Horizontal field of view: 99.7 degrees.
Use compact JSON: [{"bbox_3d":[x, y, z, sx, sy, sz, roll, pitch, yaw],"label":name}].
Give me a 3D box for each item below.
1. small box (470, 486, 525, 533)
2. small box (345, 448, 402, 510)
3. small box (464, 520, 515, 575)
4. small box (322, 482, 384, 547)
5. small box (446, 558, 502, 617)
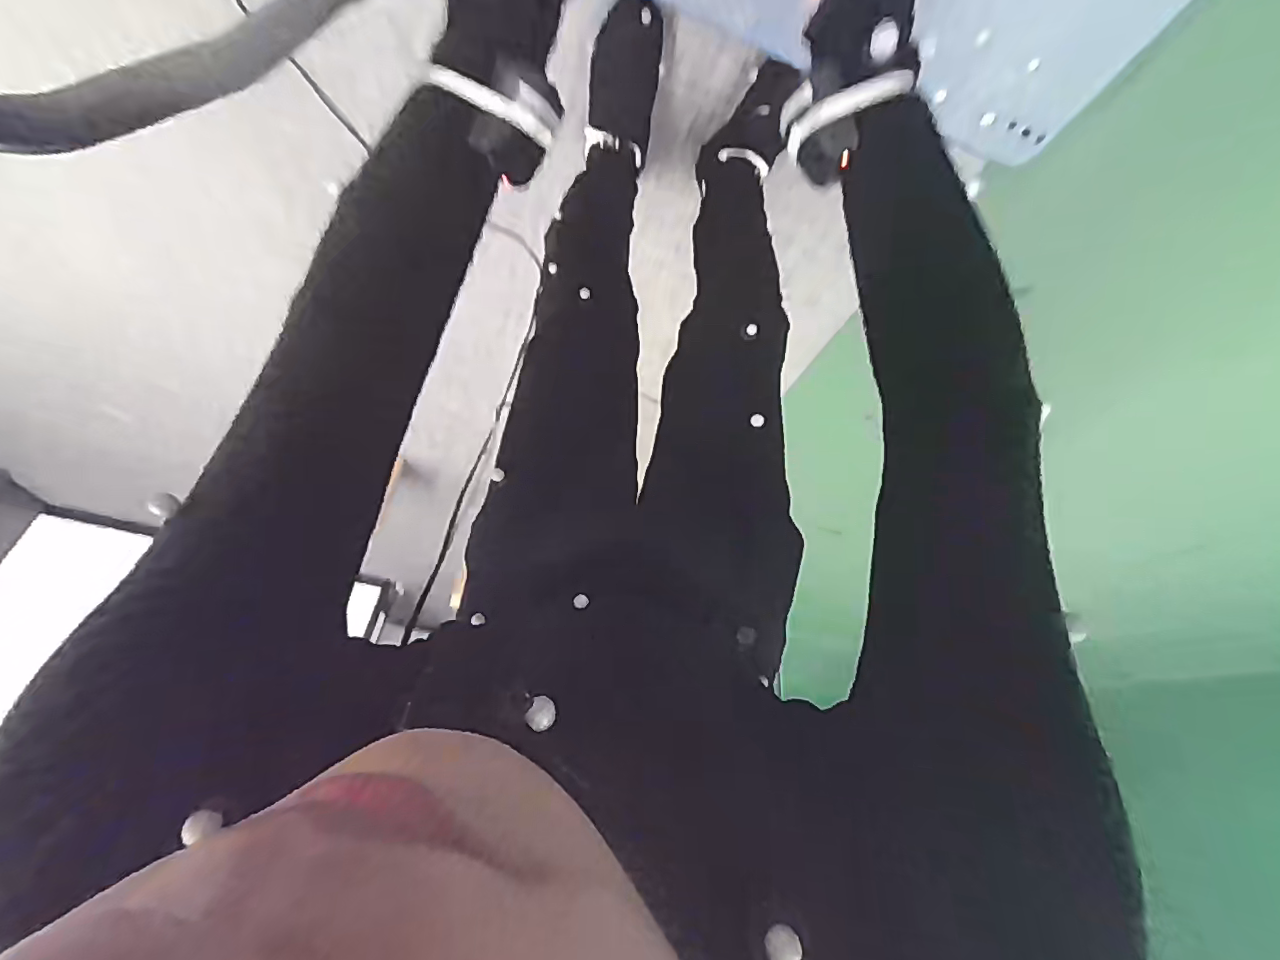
[{"bbox_3d":[-0.603,0.144,2.297,0.179,0.176,0.168,19,147,-16],"label":"small box"},{"bbox_3d":[-1.080,0.000,2.183,0.168,0.176,0.179,21,146,-22],"label":"small box"},{"bbox_3d":[-0.619,0.281,2.209,0.168,0.176,0.179,19,146,-15],"label":"small box"},{"bbox_3d":[-1.110,0.135,2.100,0.168,0.176,0.179,20,146,-16],"label":"small box"},{"bbox_3d":[-0.653,0.421,2.128,0.168,0.176,0.179,18,148,-15],"label":"small box"}]
